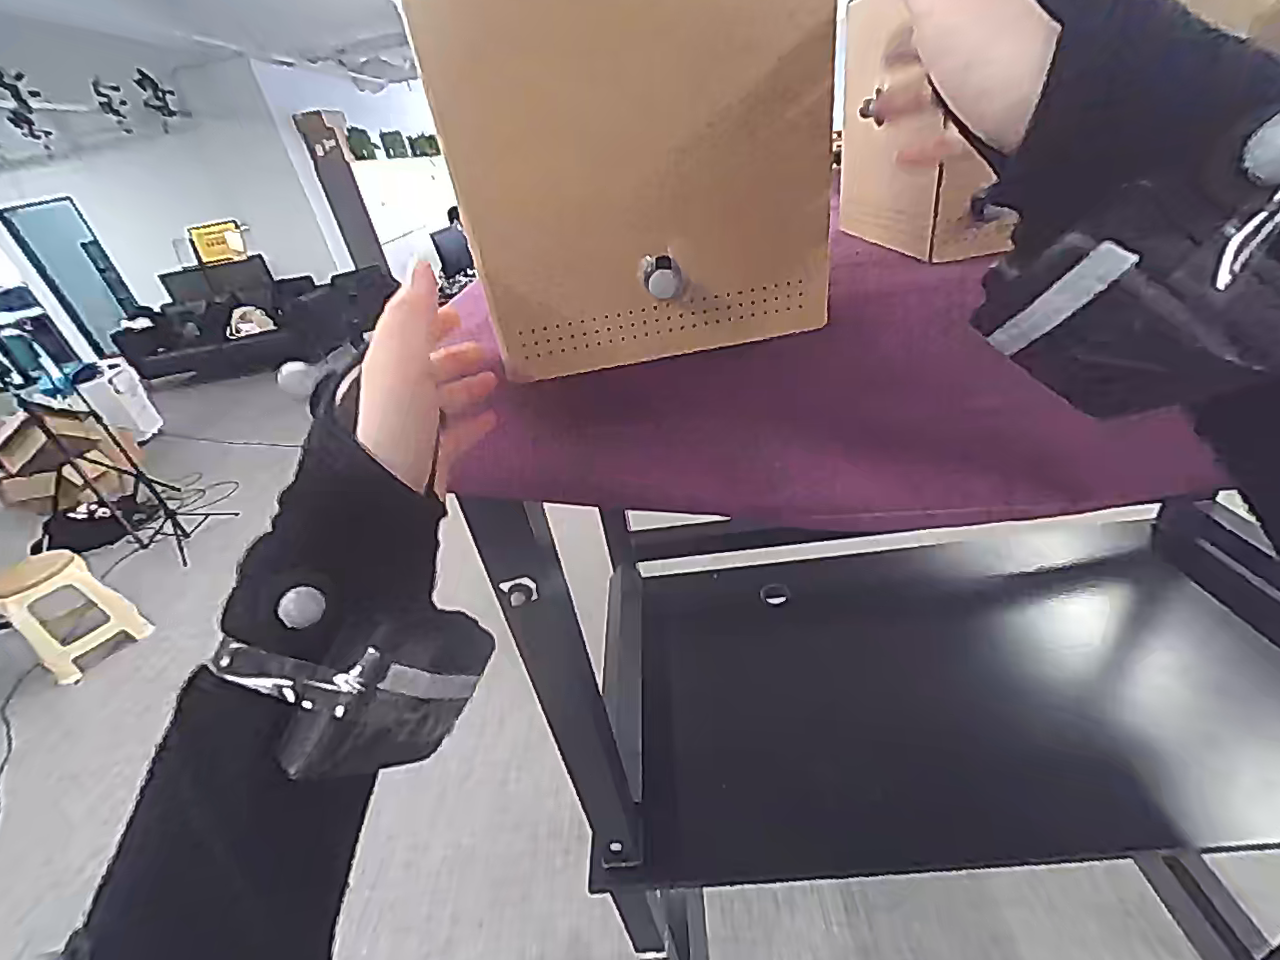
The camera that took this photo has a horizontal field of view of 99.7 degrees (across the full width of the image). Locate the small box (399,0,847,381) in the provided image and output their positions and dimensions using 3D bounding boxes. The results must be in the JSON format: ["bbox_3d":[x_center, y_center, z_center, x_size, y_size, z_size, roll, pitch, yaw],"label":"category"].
[{"bbox_3d":[-0.005,-0.172,0.309,0.179,0.176,0.168,-11,31,-2],"label":"small box"}]

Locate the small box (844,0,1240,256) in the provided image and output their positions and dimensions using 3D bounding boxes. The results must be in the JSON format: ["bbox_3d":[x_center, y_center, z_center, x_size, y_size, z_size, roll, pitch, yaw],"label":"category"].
[{"bbox_3d":[0.255,-0.264,0.379,0.168,0.176,0.179,-9,30,3],"label":"small box"}]
